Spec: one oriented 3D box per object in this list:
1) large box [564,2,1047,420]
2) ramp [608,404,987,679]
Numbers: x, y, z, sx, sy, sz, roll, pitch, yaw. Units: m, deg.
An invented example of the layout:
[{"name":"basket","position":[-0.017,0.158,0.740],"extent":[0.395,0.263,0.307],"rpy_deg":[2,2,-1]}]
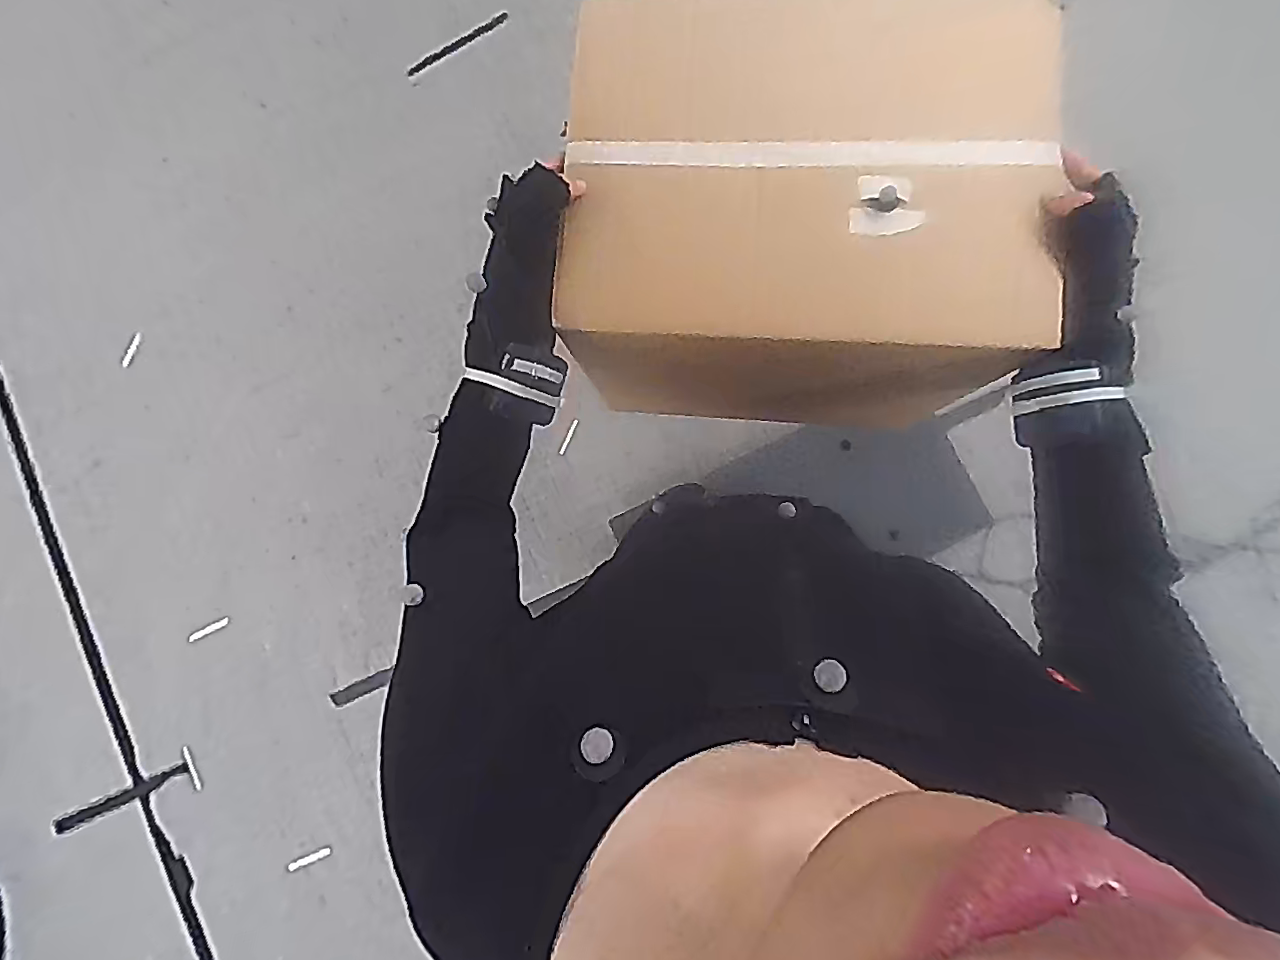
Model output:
[{"name":"large box","position":[0.151,-0.260,0.617],"extent":[0.408,0.320,0.320],"rpy_deg":[5,85,5]},{"name":"ramp","position":[0.457,0.110,1.538],"extent":[0.991,0.206,0.509],"rpy_deg":[-28,83,3]}]
